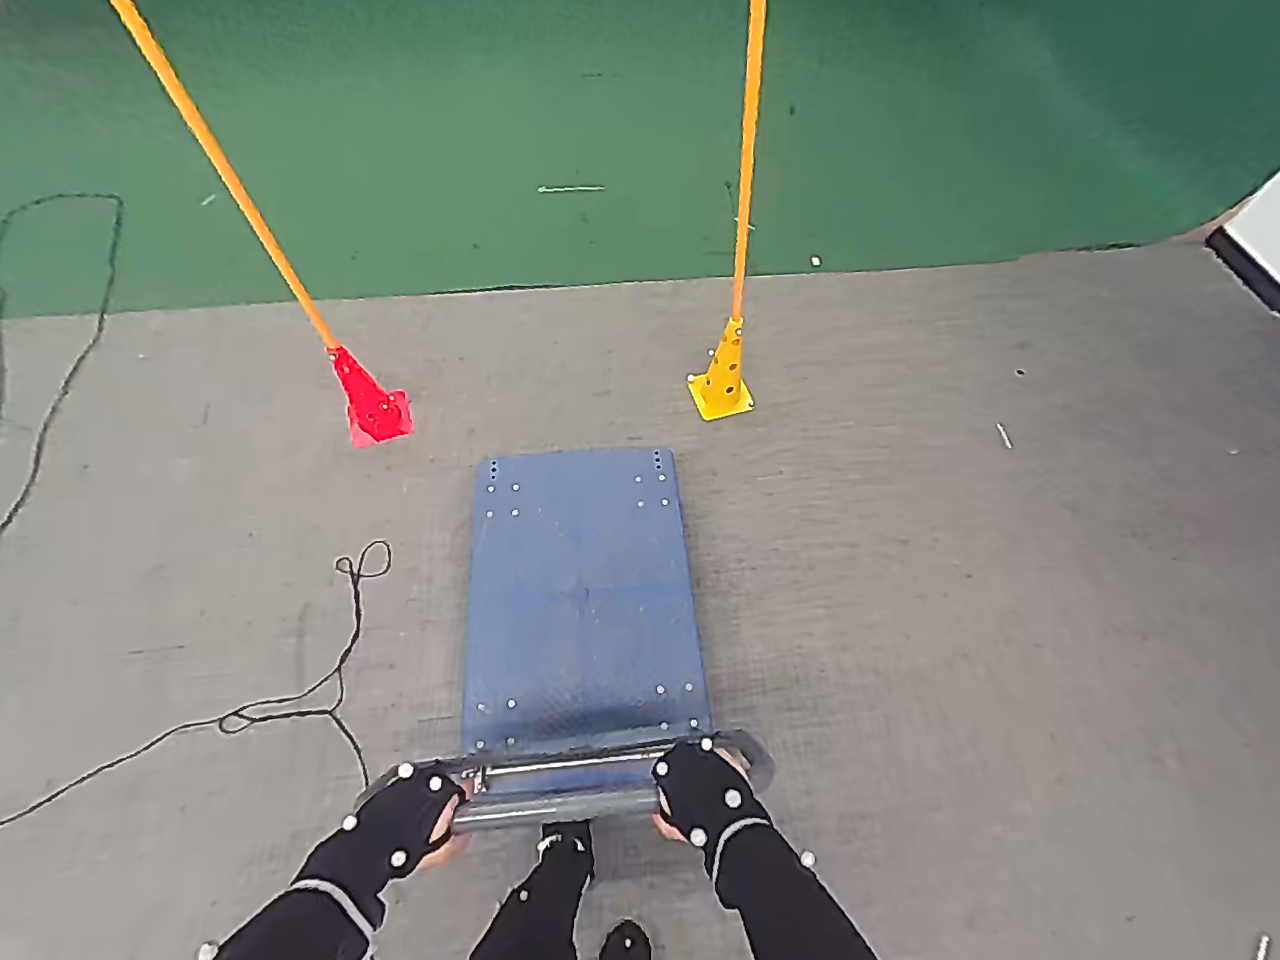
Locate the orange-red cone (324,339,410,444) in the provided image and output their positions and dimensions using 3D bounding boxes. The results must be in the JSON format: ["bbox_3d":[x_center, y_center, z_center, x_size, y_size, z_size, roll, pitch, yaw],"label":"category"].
[{"bbox_3d":[-0.889,-0.303,1.692,0.199,0.360,0.198,-18,62,-10],"label":"orange-red cone"}]
